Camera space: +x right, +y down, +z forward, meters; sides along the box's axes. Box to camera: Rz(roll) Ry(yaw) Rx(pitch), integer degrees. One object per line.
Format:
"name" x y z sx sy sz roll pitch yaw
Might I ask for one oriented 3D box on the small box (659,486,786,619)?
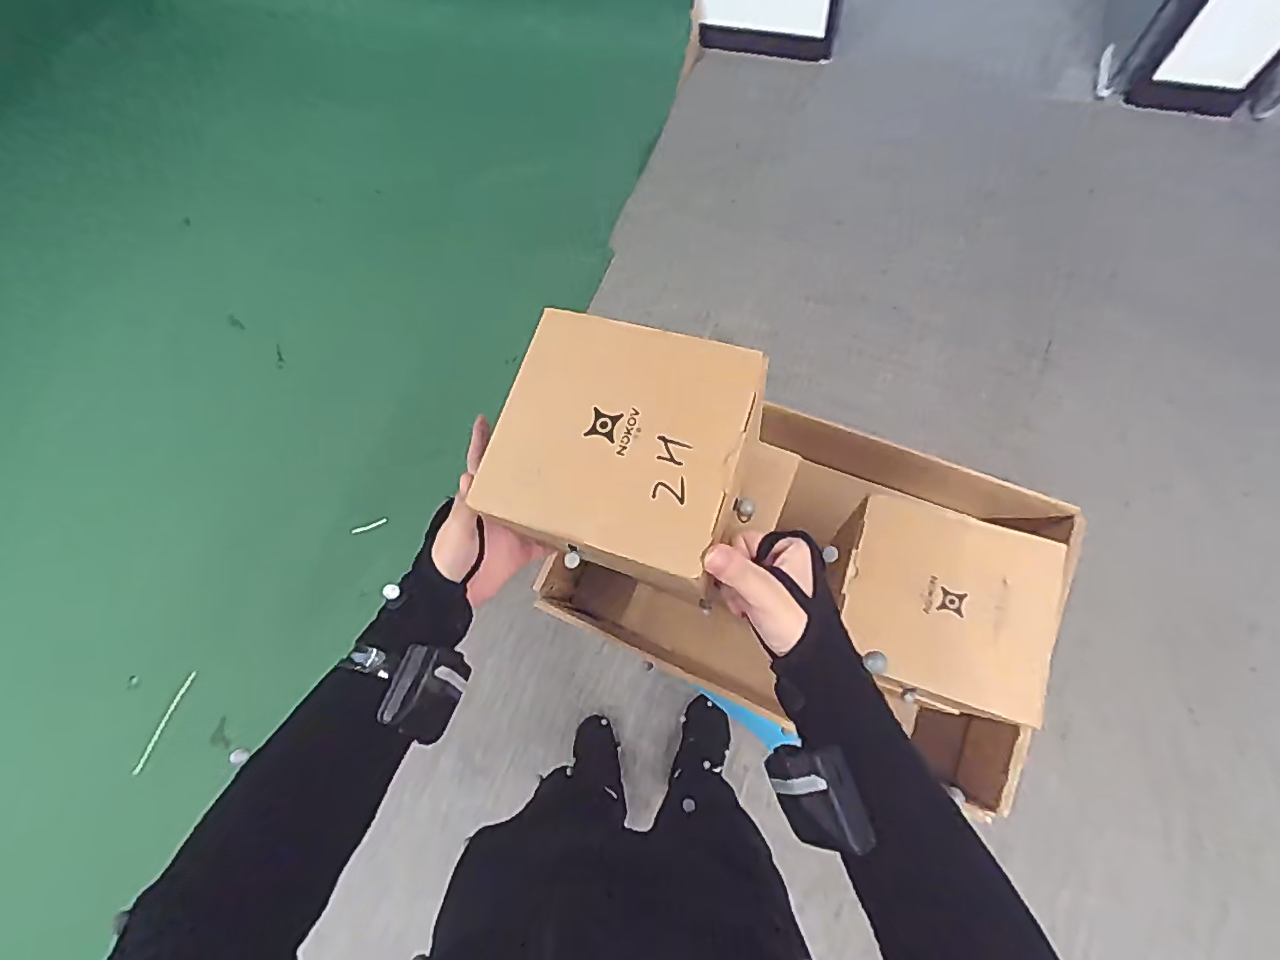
"small box" 0.094 0.094 0.788 0.179 0.176 0.168 21 77 14

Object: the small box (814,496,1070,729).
"small box" 0.292 0.136 0.561 0.179 0.176 0.168 16 76 15

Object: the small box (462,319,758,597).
"small box" -0.009 -0.006 0.456 0.179 0.176 0.168 16 77 14
